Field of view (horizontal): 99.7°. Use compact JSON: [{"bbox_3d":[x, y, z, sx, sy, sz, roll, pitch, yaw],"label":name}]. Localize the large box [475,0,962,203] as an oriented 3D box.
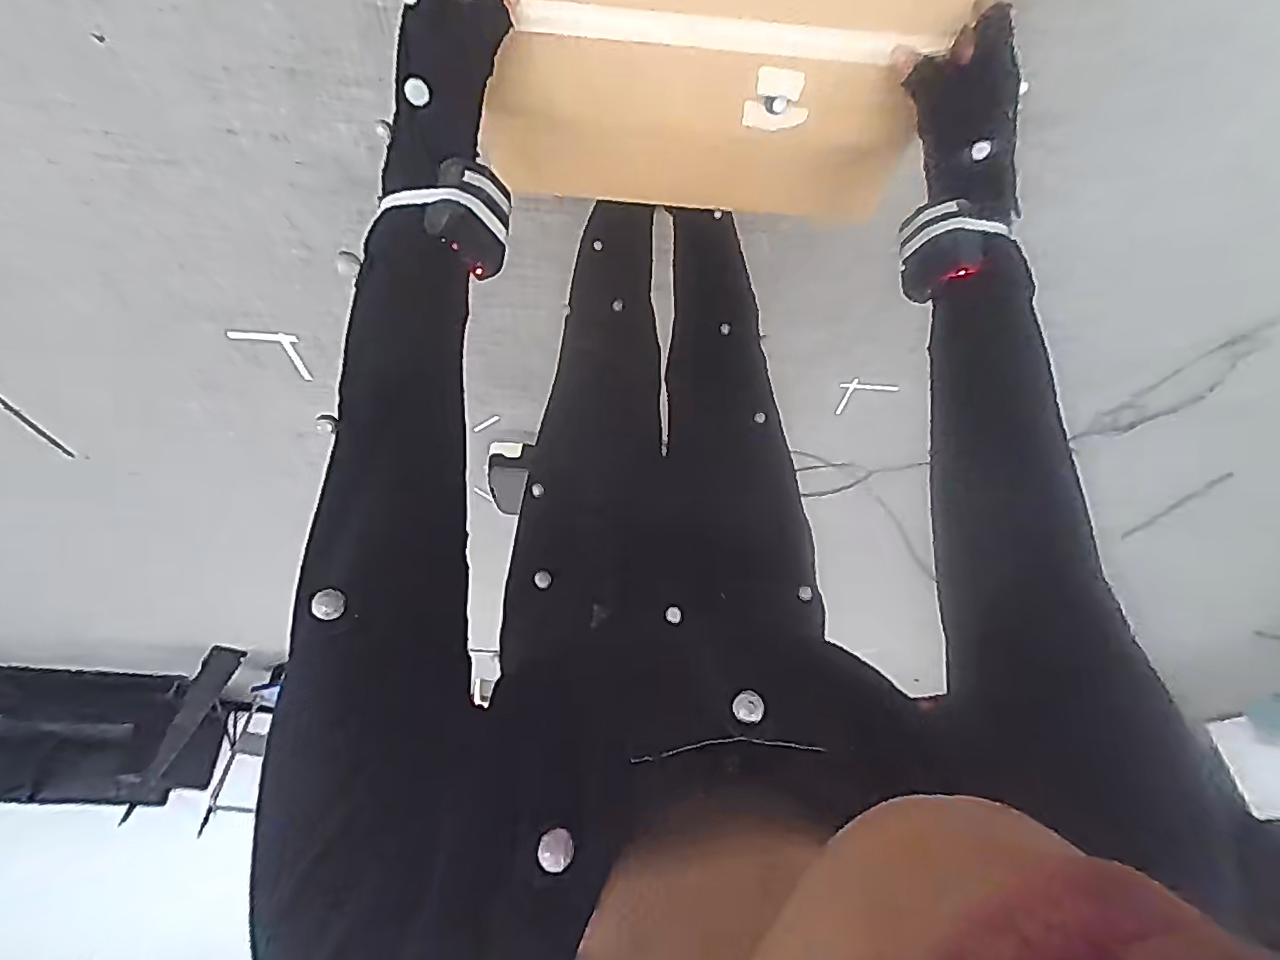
[{"bbox_3d":[0.061,-0.512,0.525,0.408,0.320,0.320,2,149,-3],"label":"large box"}]
